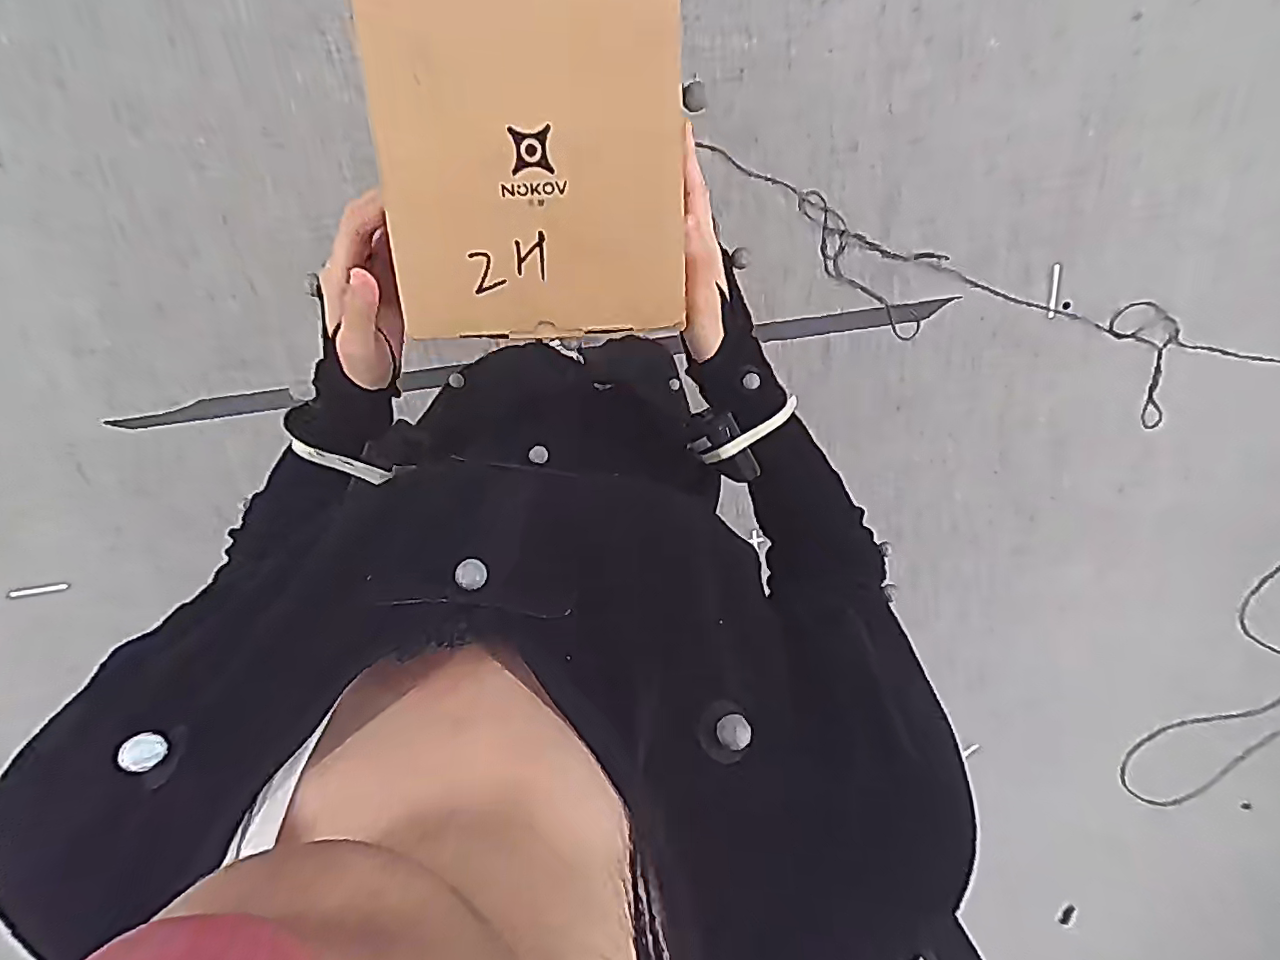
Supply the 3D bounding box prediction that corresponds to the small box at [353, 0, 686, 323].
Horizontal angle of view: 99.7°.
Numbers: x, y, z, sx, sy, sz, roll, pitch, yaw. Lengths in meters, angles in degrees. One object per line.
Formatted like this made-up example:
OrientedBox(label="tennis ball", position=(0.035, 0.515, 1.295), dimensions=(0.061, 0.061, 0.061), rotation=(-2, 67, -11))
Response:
OrientedBox(label="small box", position=(-0.059, -0.197, 0.358), dimensions=(0.168, 0.176, 0.179), rotation=(-1, 107, 1))
